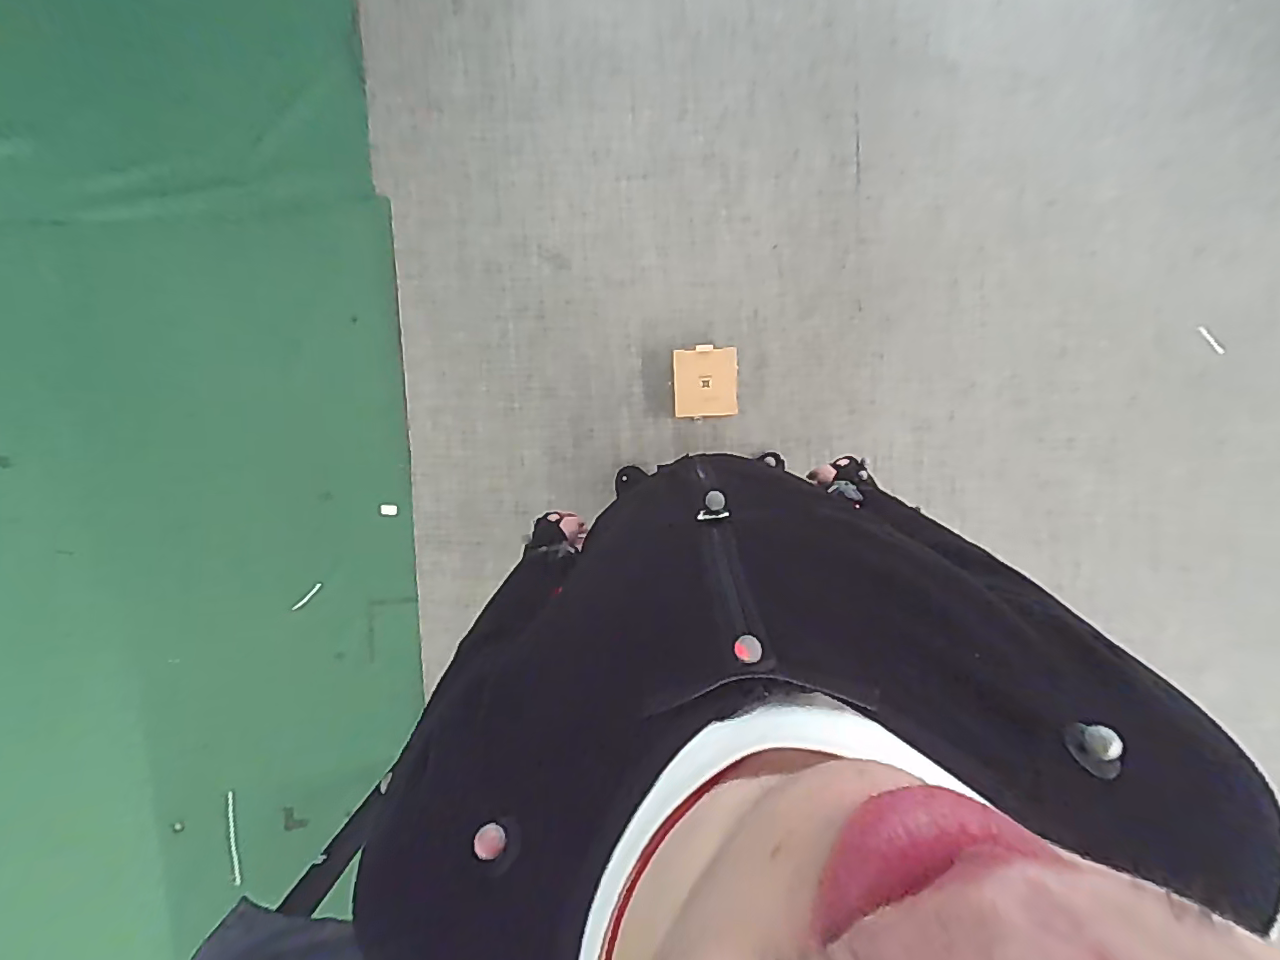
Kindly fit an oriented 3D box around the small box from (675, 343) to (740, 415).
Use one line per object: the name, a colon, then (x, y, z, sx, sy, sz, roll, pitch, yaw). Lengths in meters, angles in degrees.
small box: (0.177, -0.267, 1.459, 0.168, 0.176, 0.179, 0, 94, 4)
